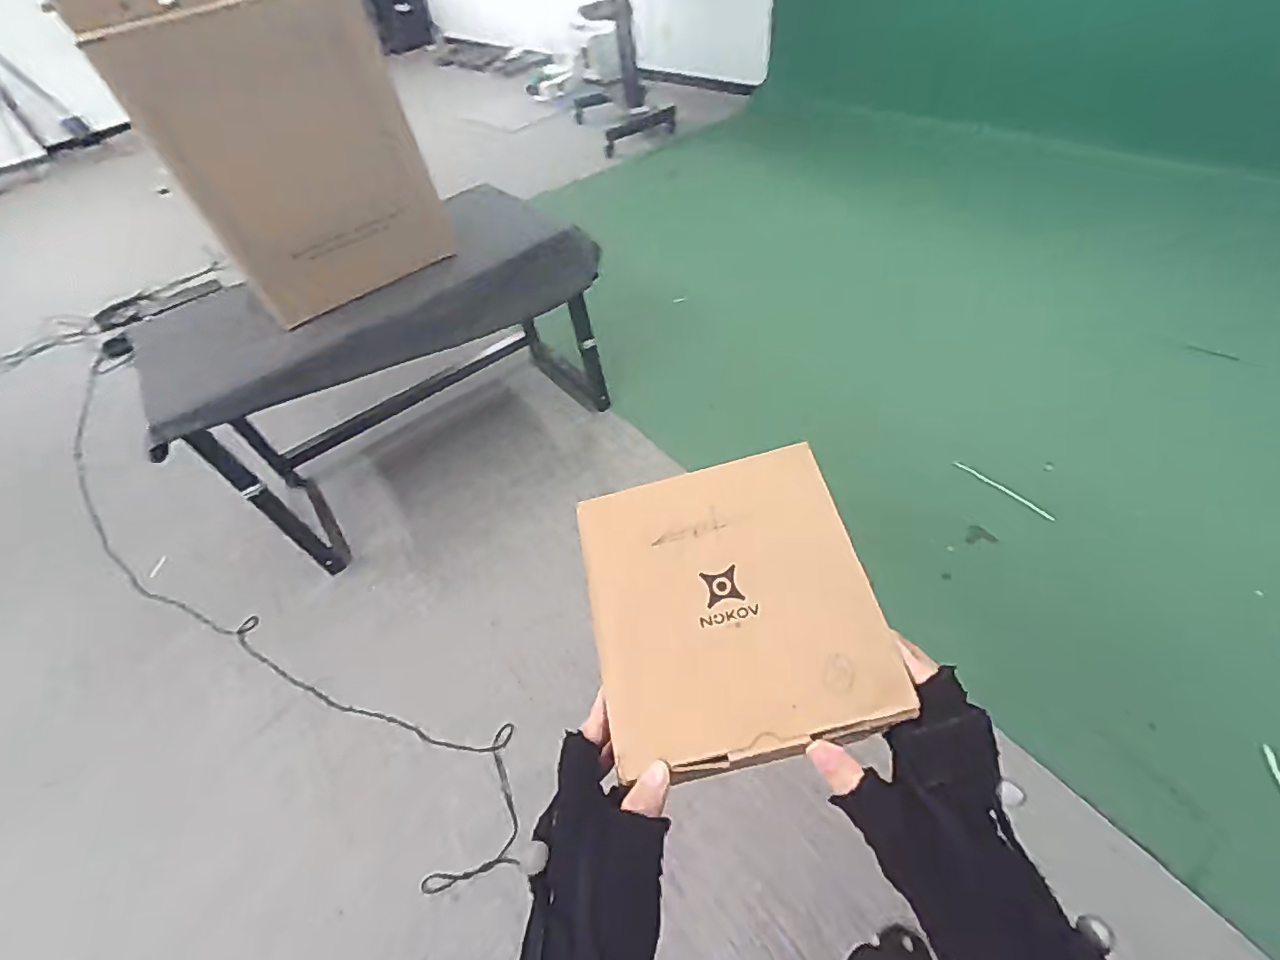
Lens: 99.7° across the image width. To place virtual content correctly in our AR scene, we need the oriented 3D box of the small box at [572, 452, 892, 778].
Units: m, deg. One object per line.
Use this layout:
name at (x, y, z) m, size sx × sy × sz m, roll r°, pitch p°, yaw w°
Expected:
small box at (0.060, 0.111, 0.407) m, size 0.168 × 0.176 × 0.179 m, roll -15°, pitch 57°, yaw 3°
